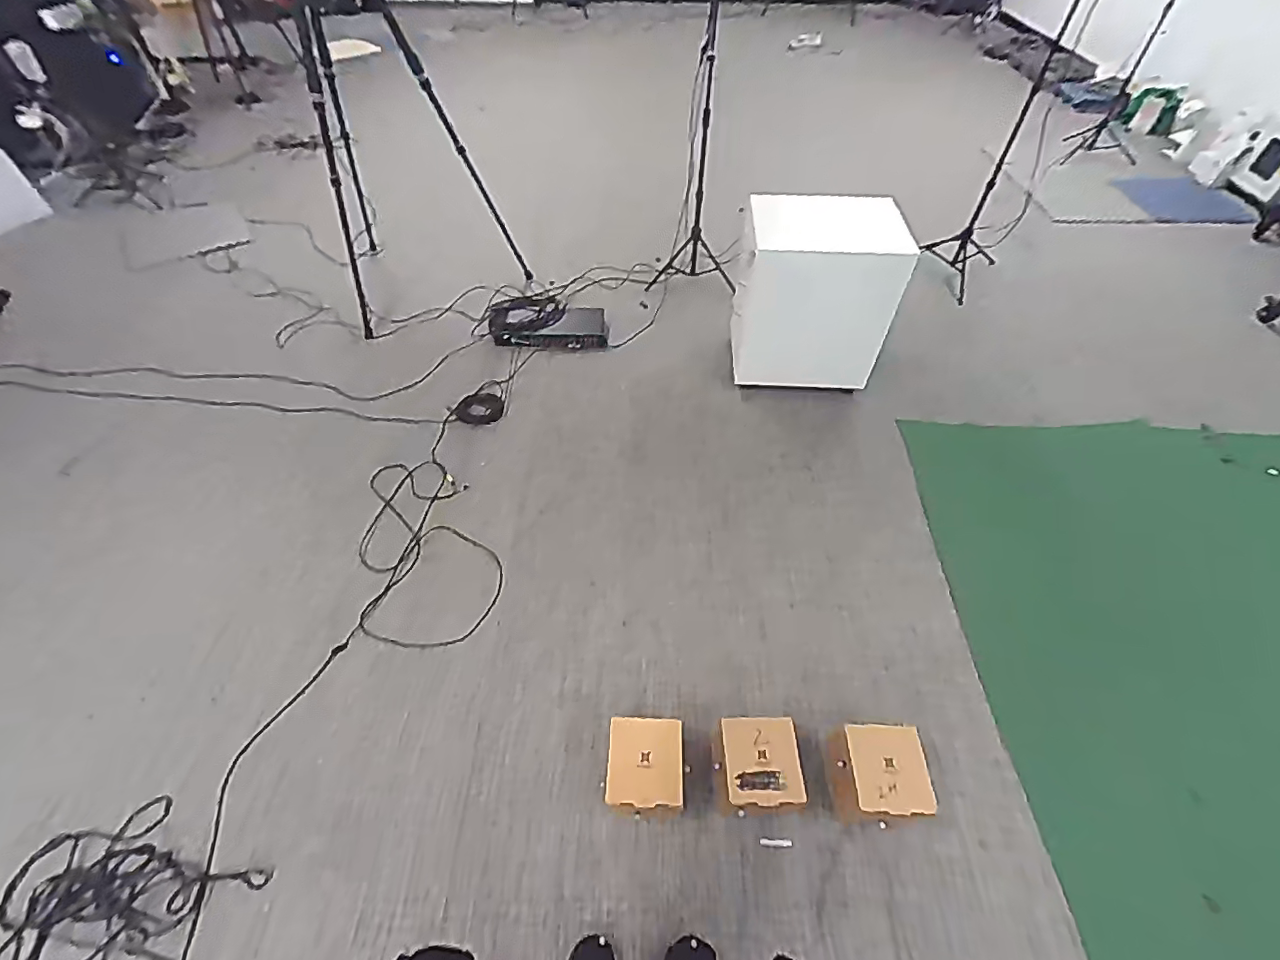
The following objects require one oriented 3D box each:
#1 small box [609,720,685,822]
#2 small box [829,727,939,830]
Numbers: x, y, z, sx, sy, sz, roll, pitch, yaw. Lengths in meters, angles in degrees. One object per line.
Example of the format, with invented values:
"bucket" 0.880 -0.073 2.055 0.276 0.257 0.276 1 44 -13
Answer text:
"small box" 0.018 0.678 1.257 0.168 0.176 0.179 1 51 2
"small box" 0.548 0.689 1.246 0.168 0.176 0.179 1 51 2
